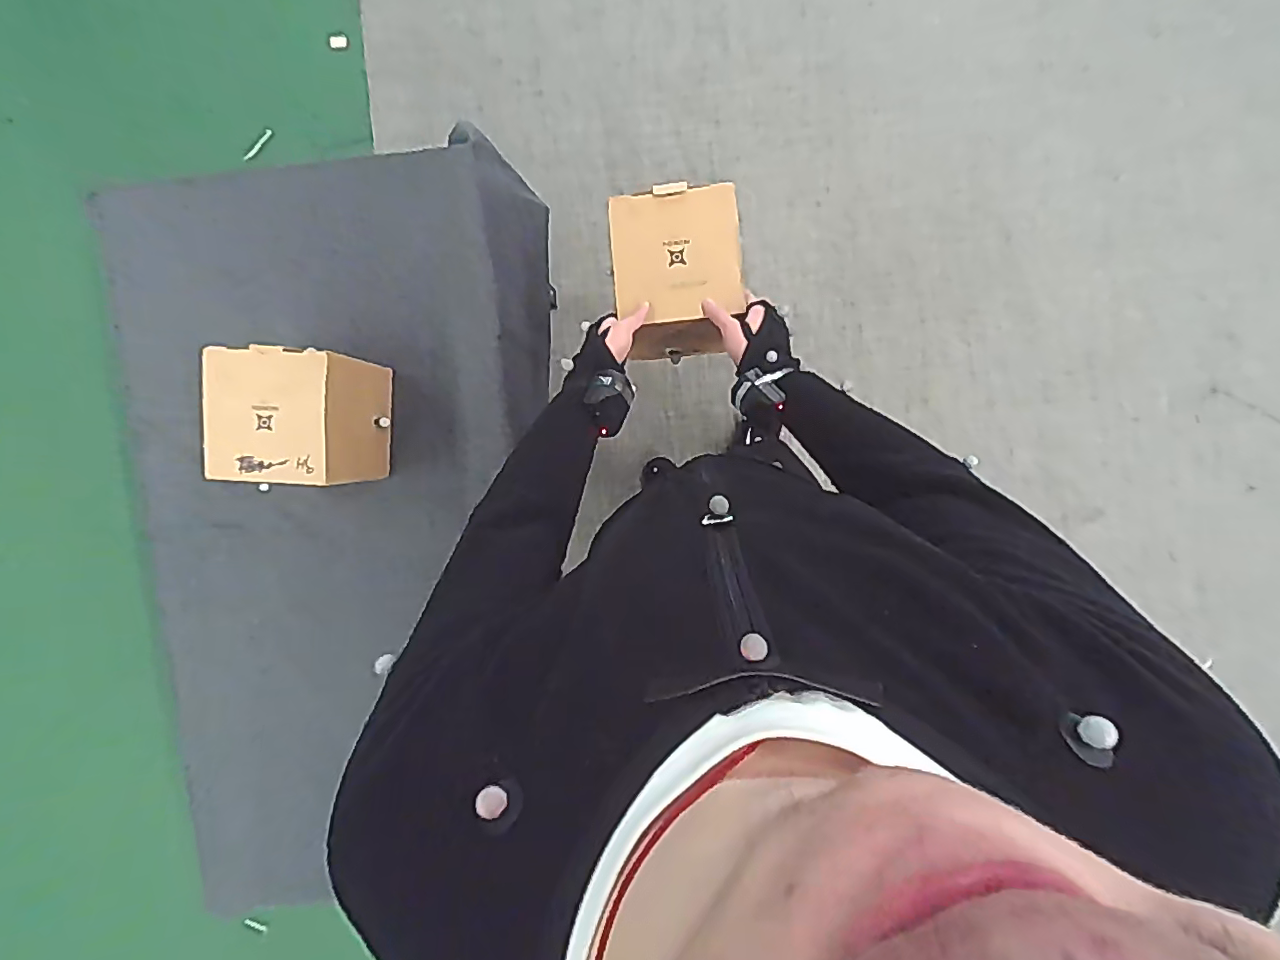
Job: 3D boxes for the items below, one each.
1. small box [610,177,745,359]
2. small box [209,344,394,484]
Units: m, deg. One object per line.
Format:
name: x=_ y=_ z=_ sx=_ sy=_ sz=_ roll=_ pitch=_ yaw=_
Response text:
small box: x=0.052 y=-0.282 z=0.752 sx=0.168 sy=0.176 sz=0.179 roll=-3 pitch=86 yaw=6
small box: x=-0.477 y=-0.089 z=0.786 sx=0.168 sy=0.176 sz=0.179 roll=4 pitch=93 yaw=2
